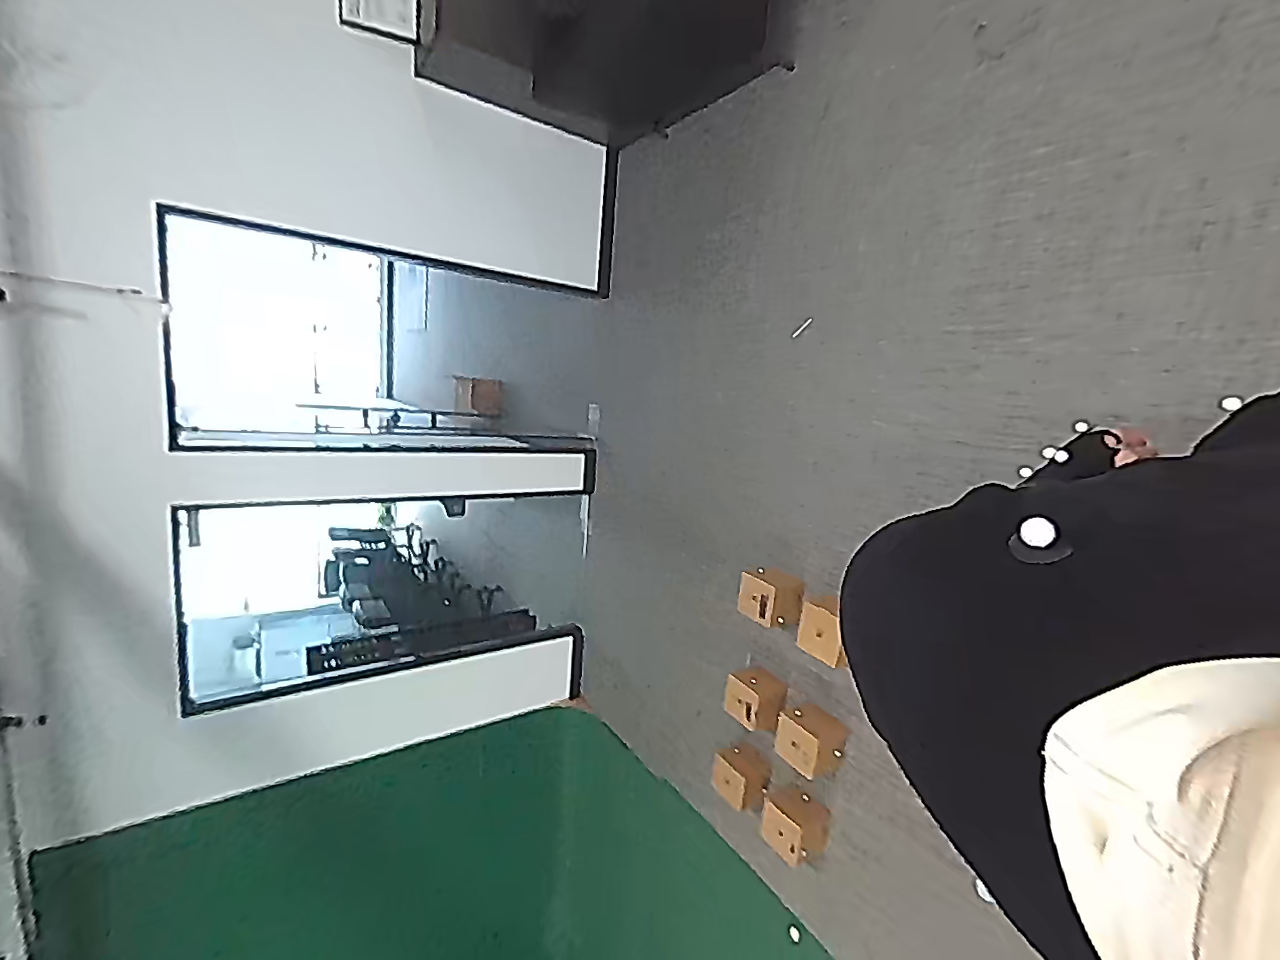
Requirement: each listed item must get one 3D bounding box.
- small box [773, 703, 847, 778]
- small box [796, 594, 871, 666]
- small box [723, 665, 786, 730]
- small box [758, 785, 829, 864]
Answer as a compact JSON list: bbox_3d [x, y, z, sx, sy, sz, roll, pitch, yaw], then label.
[{"bbox_3d":[0.616,0.935,1.966,0.179,0.176,0.168,22,110,54],"label":"small box"},{"bbox_3d":[0.672,0.514,1.875,0.168,0.176,0.179,23,109,54],"label":"small box"},{"bbox_3d":[0.464,0.872,2.190,0.179,0.176,0.168,23,110,54],"label":"small box"},{"bbox_3d":[0.577,1.284,2.035,0.179,0.176,0.168,21,109,55],"label":"small box"}]
